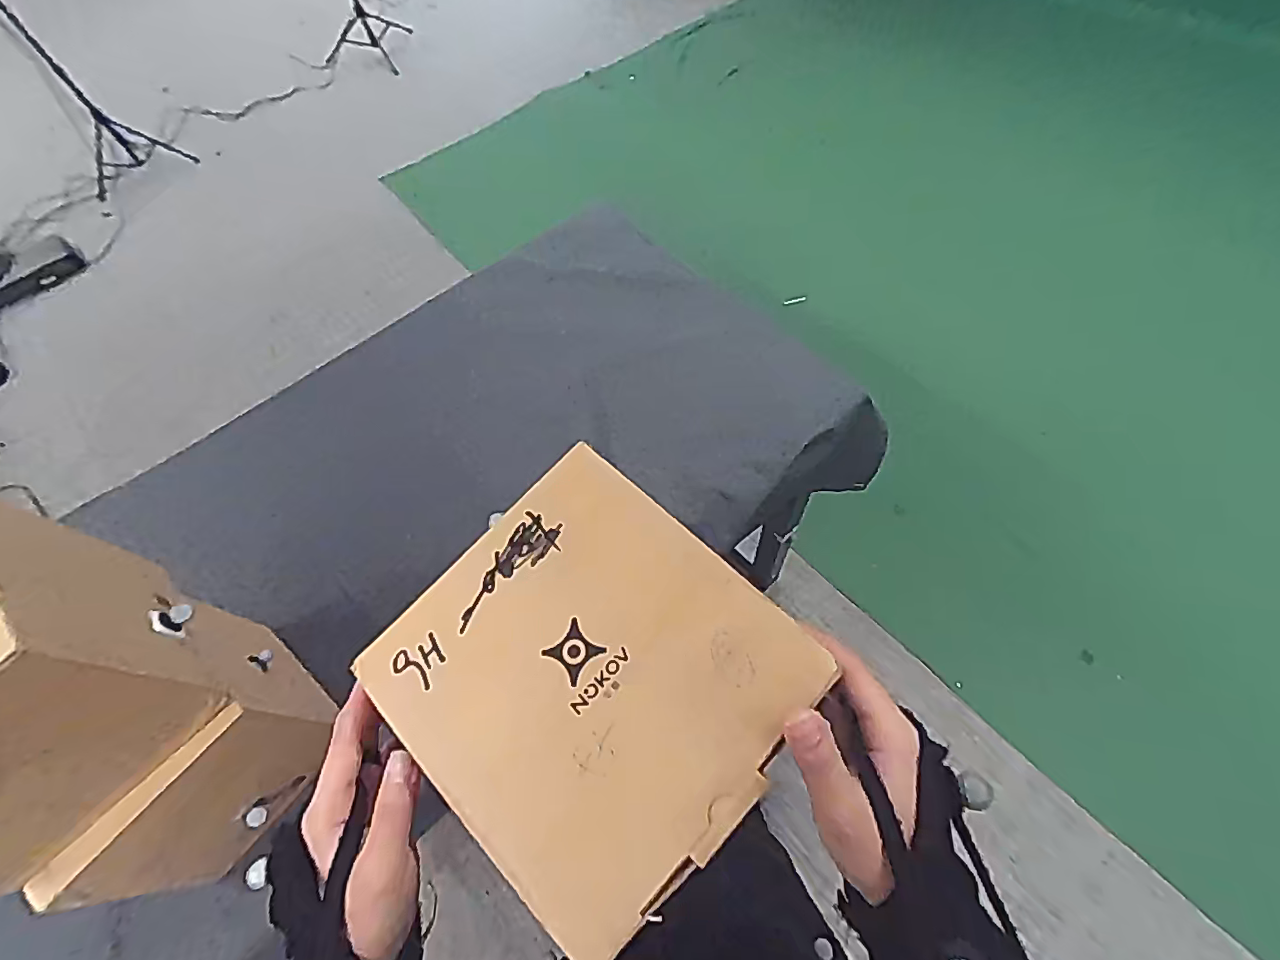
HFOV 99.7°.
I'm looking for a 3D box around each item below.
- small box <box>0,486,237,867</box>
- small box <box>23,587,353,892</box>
[{"bbox_3d":[-0.434,0.133,0.361,0.168,0.176,0.179,38,69,21],"label":"small box"},{"bbox_3d":[-0.414,0.224,0.496,0.179,0.176,0.168,34,69,20],"label":"small box"}]
